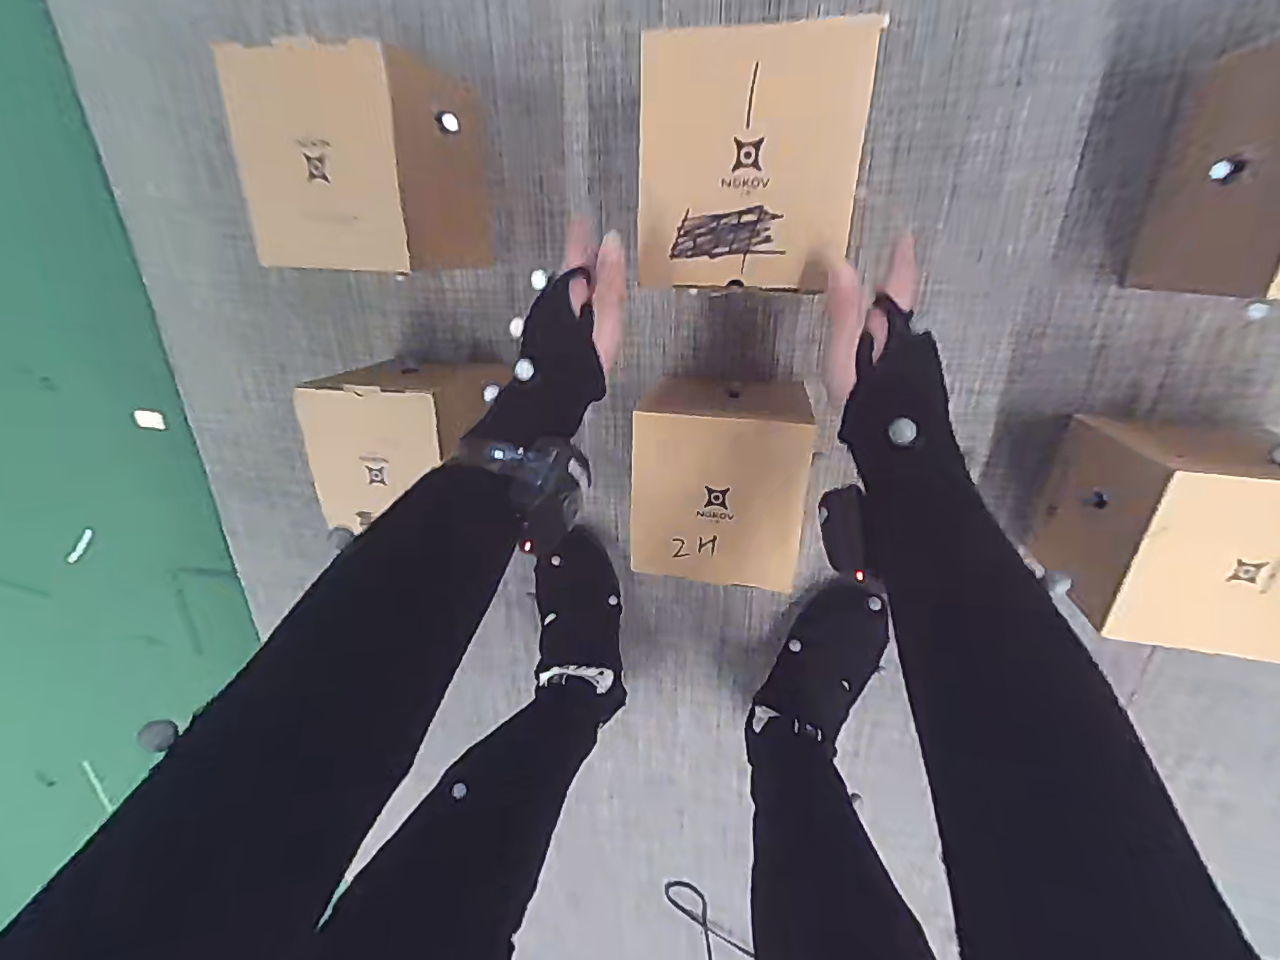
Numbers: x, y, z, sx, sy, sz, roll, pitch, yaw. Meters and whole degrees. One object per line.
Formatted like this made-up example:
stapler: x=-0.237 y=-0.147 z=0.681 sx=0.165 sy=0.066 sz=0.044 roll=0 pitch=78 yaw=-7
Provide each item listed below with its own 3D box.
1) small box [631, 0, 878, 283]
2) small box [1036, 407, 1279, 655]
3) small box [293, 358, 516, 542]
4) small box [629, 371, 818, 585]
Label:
small box: x=0.092 y=-0.271 z=0.470 sx=0.168 sy=0.176 sz=0.179 roll=6 pitch=113 yaw=11
small box: x=0.513 y=0.035 z=0.500 sx=0.179 sy=0.176 sz=0.168 roll=6 pitch=113 yaw=11
small box: x=-0.263 y=-0.047 z=0.646 sx=0.168 sy=0.176 sz=0.179 roll=5 pitch=112 yaw=13
small box: x=0.086 y=-0.015 z=0.578 sx=0.168 sy=0.176 sz=0.179 roll=6 pitch=113 yaw=11
